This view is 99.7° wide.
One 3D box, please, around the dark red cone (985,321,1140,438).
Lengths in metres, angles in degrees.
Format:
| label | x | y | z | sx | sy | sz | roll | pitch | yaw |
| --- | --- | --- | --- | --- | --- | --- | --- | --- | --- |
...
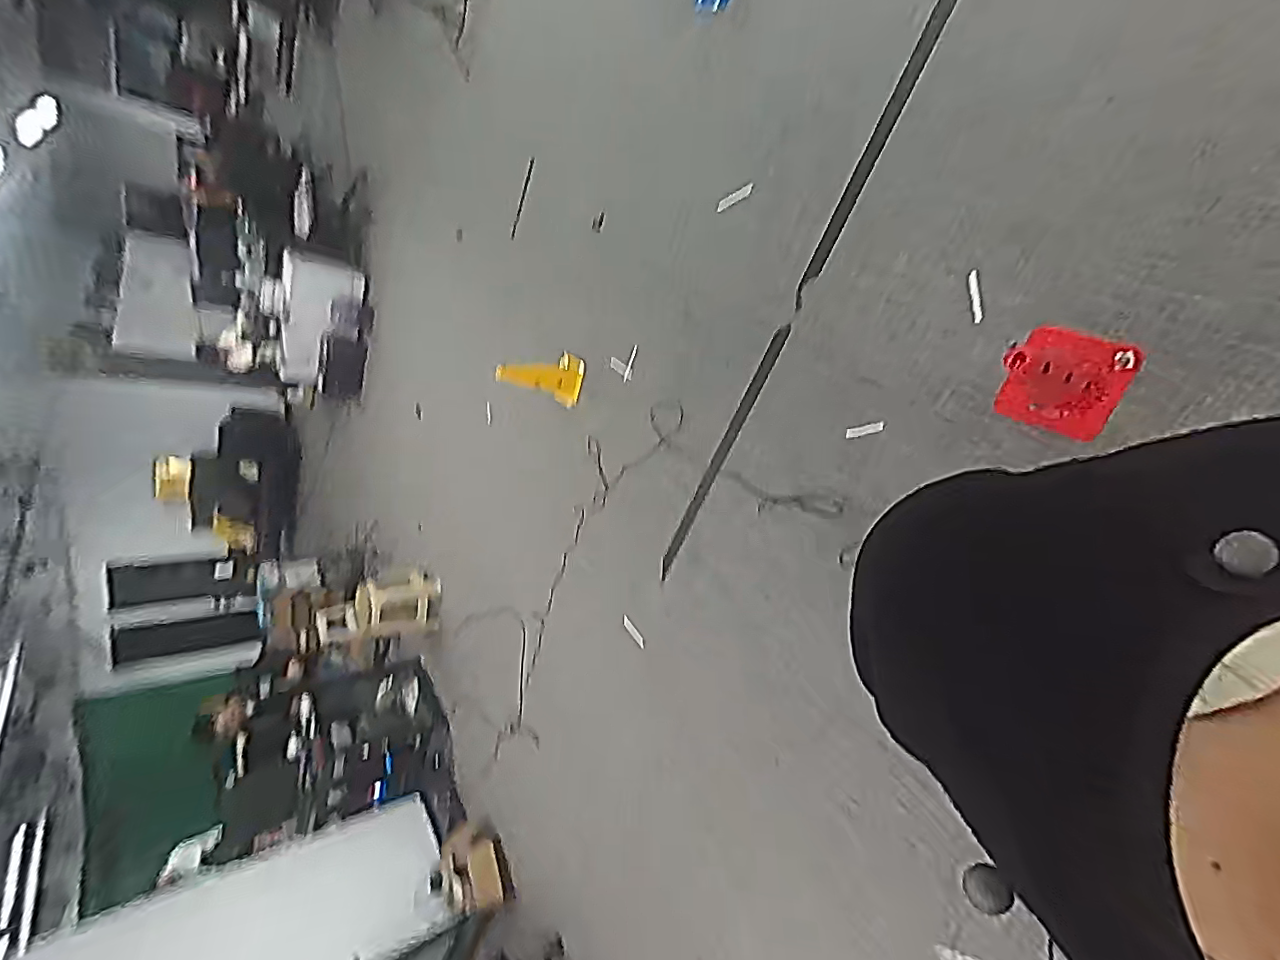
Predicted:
| label | x | y | z | sx | sy | sz | roll | pitch | yaw |
| --- | --- | --- | --- | --- | --- | --- | --- | --- | --- |
| dark red cone | 0.726 | -0.201 | 0.992 | 0.201 | 0.394 | 0.202 | 37 | 118 | 43 |
